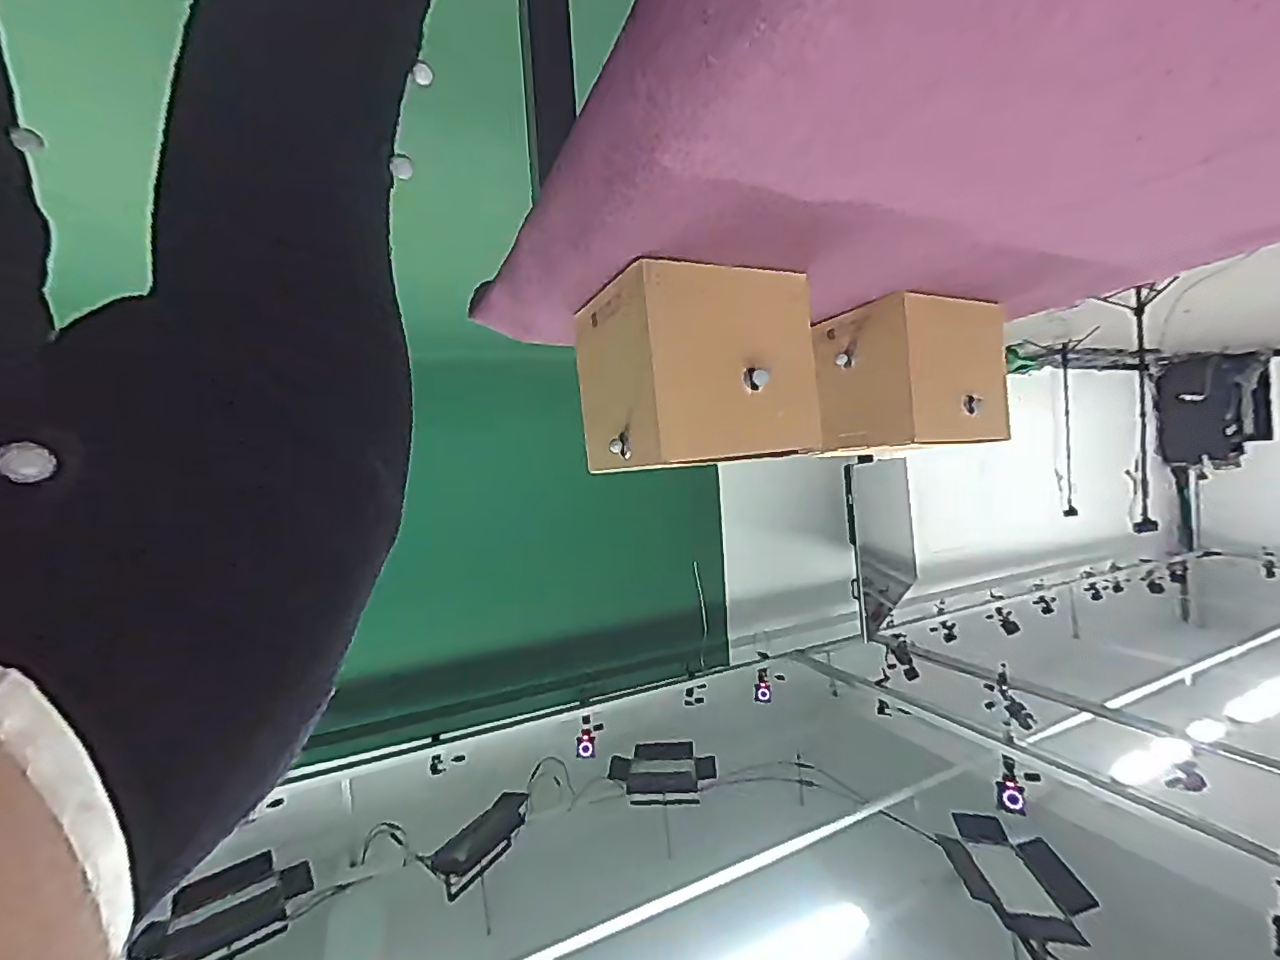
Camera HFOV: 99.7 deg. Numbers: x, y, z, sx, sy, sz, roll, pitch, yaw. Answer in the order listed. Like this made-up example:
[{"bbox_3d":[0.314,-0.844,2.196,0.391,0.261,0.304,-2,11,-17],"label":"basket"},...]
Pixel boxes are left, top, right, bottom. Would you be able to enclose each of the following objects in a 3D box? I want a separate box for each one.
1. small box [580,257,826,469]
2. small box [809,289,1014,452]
[{"bbox_3d":[0.055,-0.106,0.534,0.179,0.176,0.168,-8,-179,-26],"label":"small box"},{"bbox_3d":[0.332,-0.128,0.680,0.179,0.176,0.168,-3,179,-26],"label":"small box"}]
